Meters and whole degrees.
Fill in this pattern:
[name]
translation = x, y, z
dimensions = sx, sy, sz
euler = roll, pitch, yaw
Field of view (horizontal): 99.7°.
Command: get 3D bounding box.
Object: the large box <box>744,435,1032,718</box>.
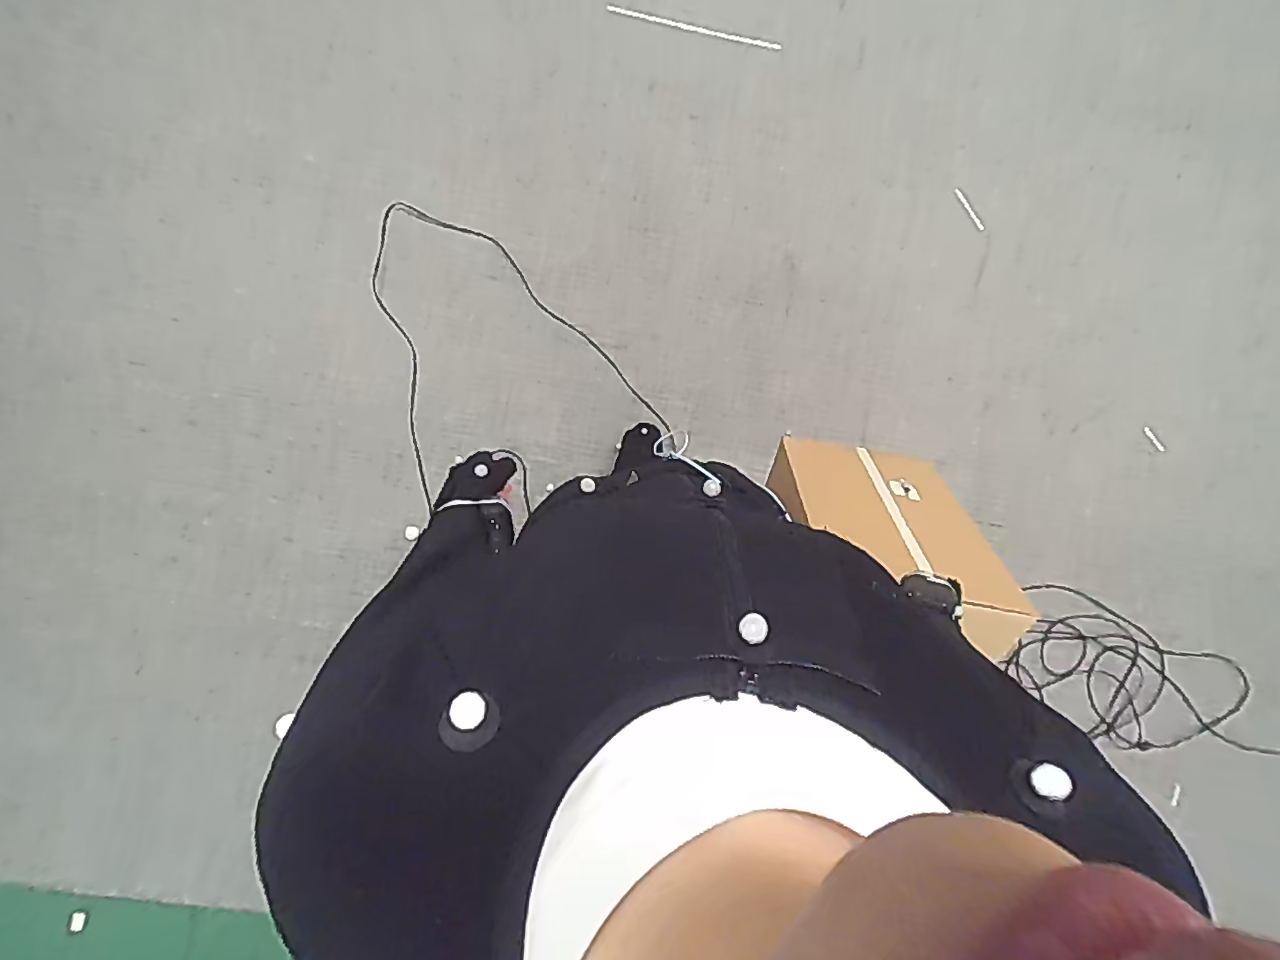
[large box]
translation = 0.401, 0.167, 1.010
dimensions = 0.320, 0.408, 0.320
euler = 10, 125, -3
